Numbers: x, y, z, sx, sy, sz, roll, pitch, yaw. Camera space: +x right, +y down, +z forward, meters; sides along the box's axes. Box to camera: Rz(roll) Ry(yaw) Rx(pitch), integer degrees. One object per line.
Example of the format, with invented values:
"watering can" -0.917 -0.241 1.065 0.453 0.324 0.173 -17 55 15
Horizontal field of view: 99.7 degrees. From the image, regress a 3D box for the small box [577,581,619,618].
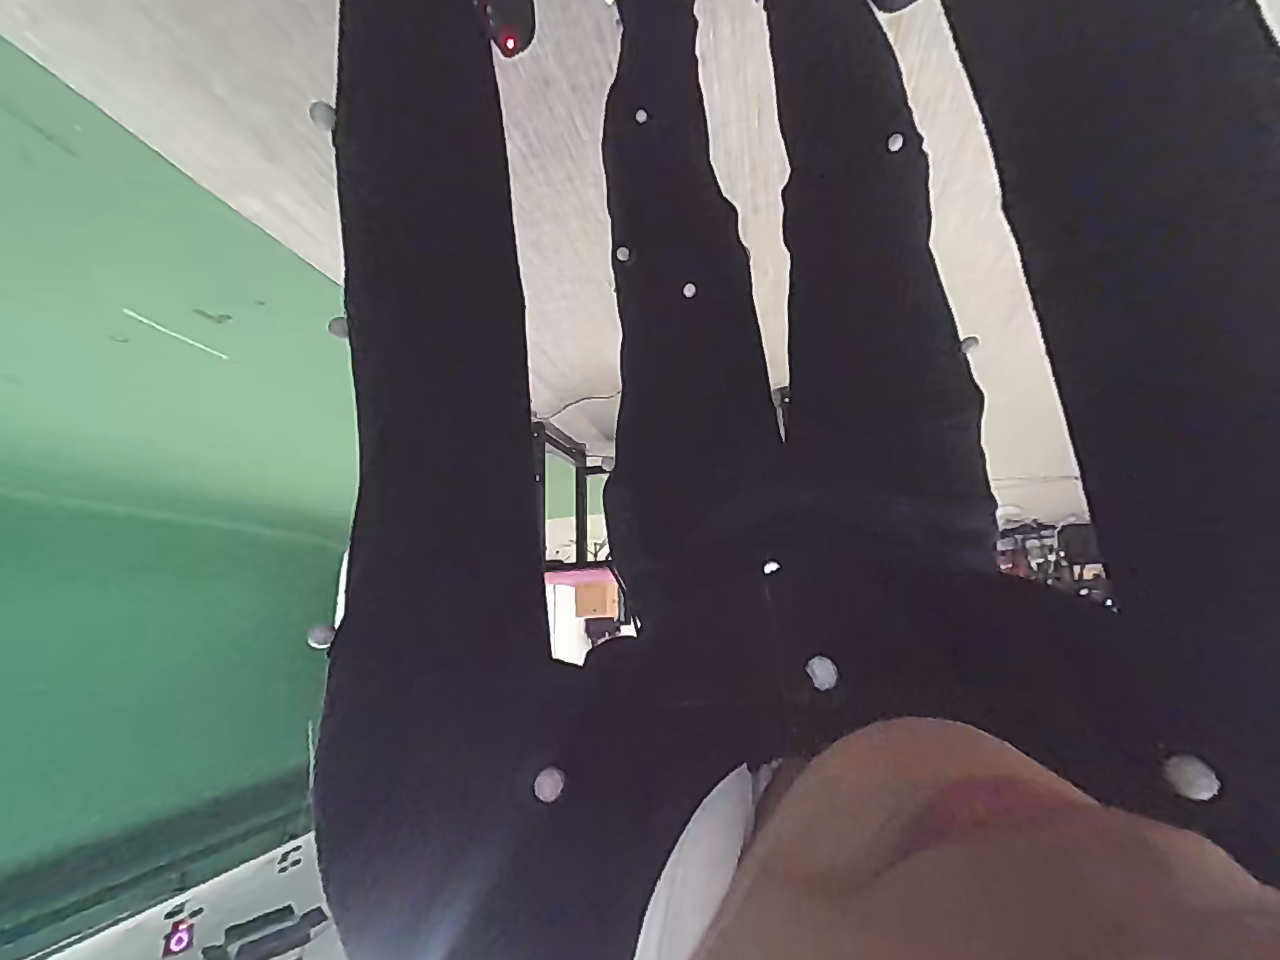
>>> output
"small box" -0.203 0.584 2.640 0.168 0.176 0.179 -7 165 14
